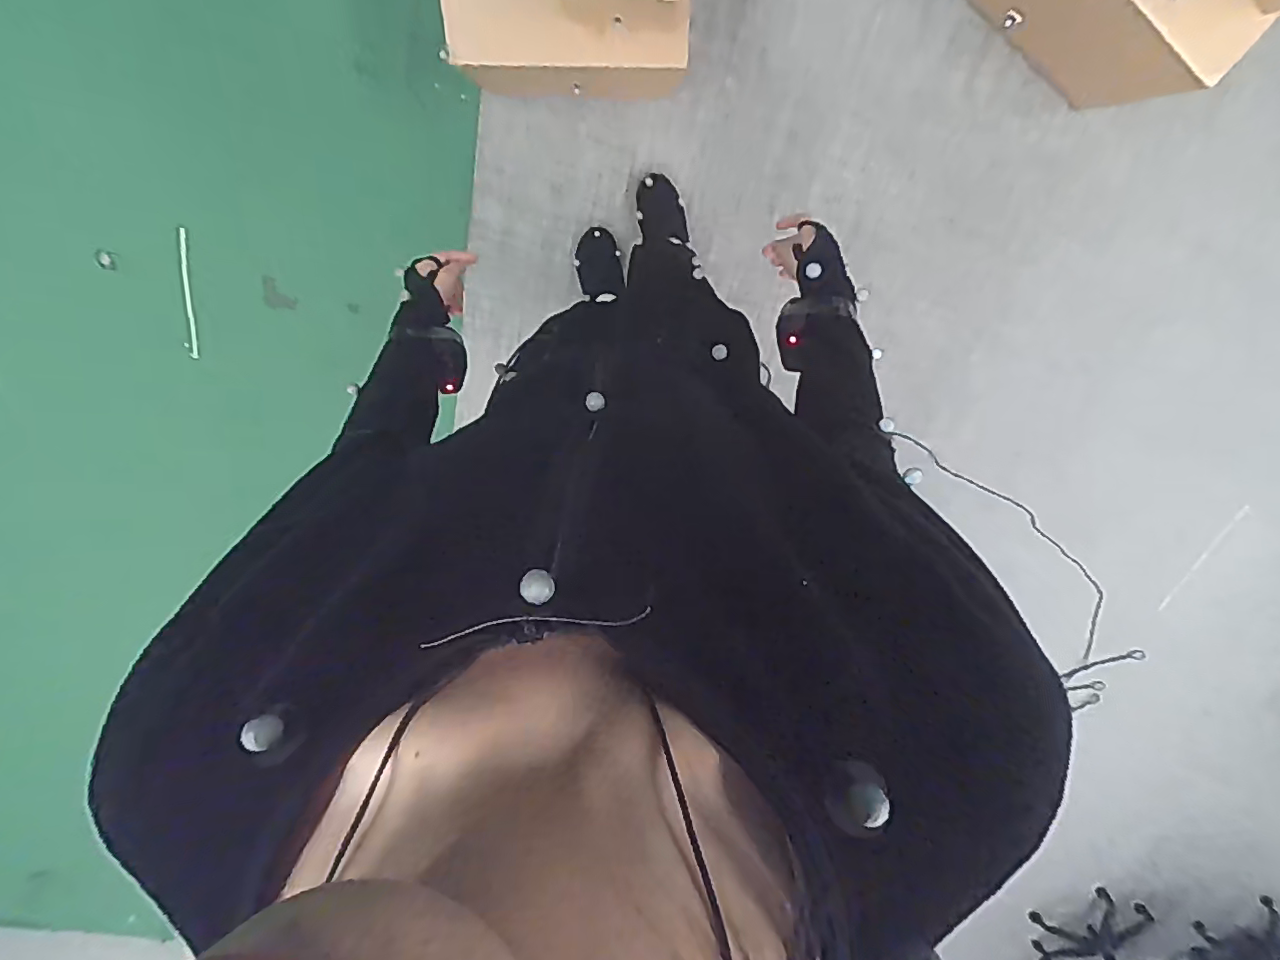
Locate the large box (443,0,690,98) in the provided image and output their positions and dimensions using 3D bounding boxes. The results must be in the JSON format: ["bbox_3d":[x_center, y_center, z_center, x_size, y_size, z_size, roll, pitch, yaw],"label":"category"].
[{"bbox_3d":[-0.119,-0.894,0.972,0.408,0.320,0.320,0,117,-1],"label":"large box"}]
